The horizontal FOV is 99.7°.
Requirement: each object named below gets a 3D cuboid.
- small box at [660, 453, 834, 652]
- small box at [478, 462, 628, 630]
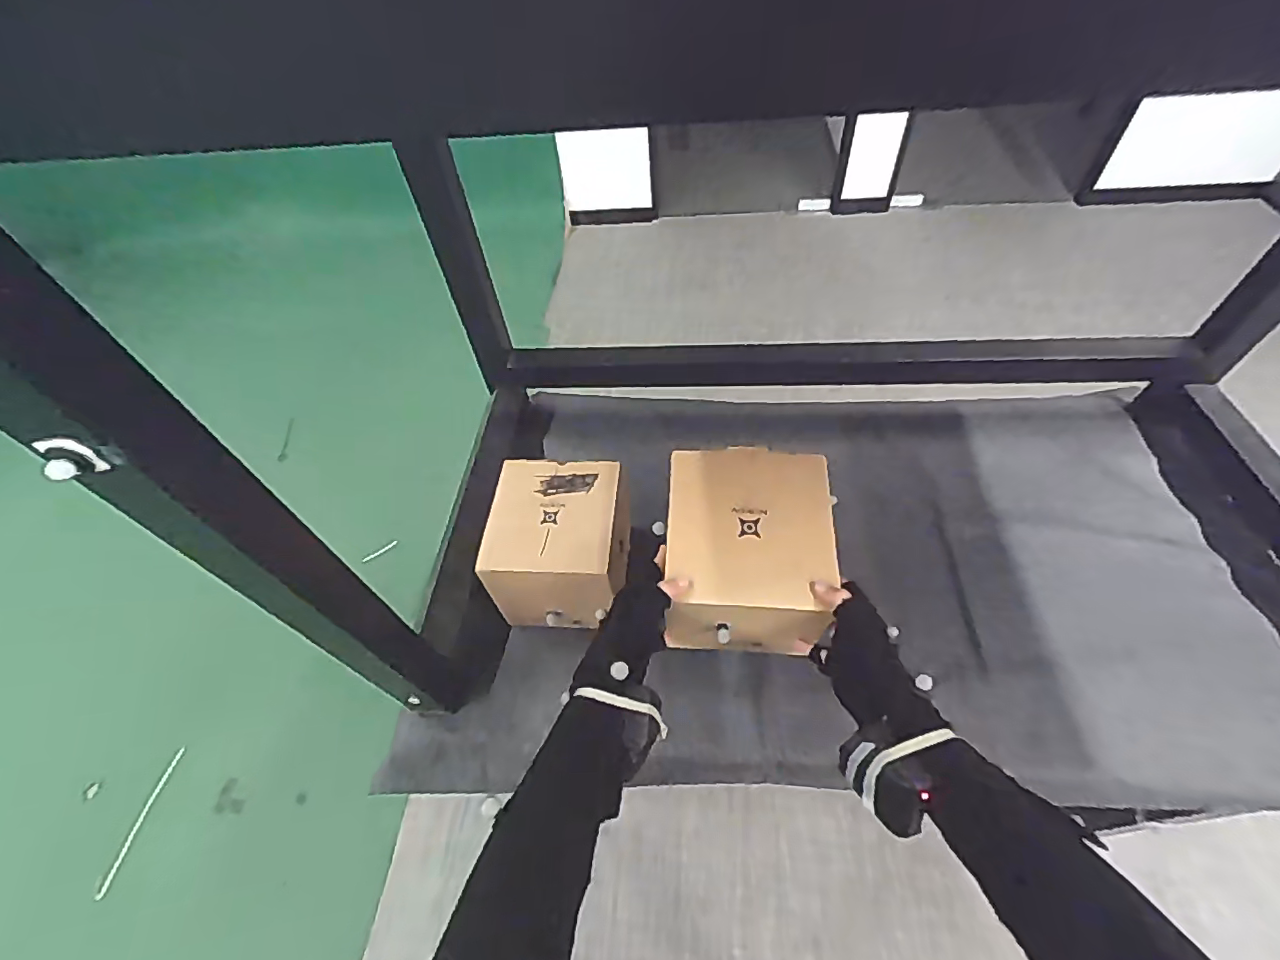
[{"bbox_3d":[0.112,0.088,0.619,0.168,0.176,0.179,2,57,5],"label":"small box"},{"bbox_3d":[-0.109,0.094,0.768,0.168,0.176,0.179,0,52,6],"label":"small box"}]
